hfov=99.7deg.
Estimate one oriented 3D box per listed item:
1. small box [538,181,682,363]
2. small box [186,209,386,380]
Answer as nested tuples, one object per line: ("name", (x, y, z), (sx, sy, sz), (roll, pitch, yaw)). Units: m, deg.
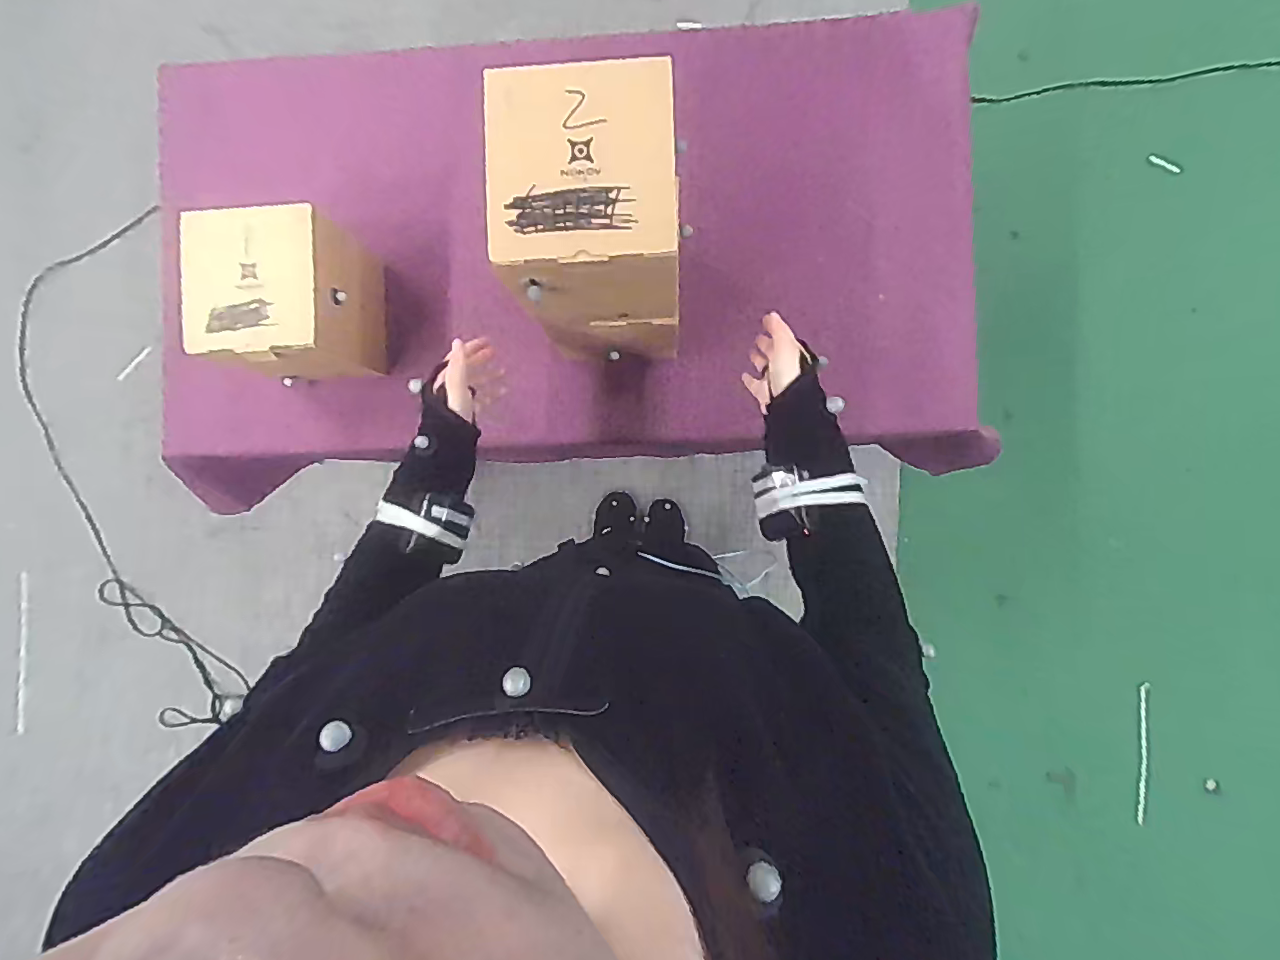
("small box", (-0.032, -0.262, 0.712), (0.168, 0.176, 0.179), (1, 89, 3))
("small box", (-0.465, -0.236, 0.733), (0.168, 0.176, 0.179), (-2, 88, 2))
